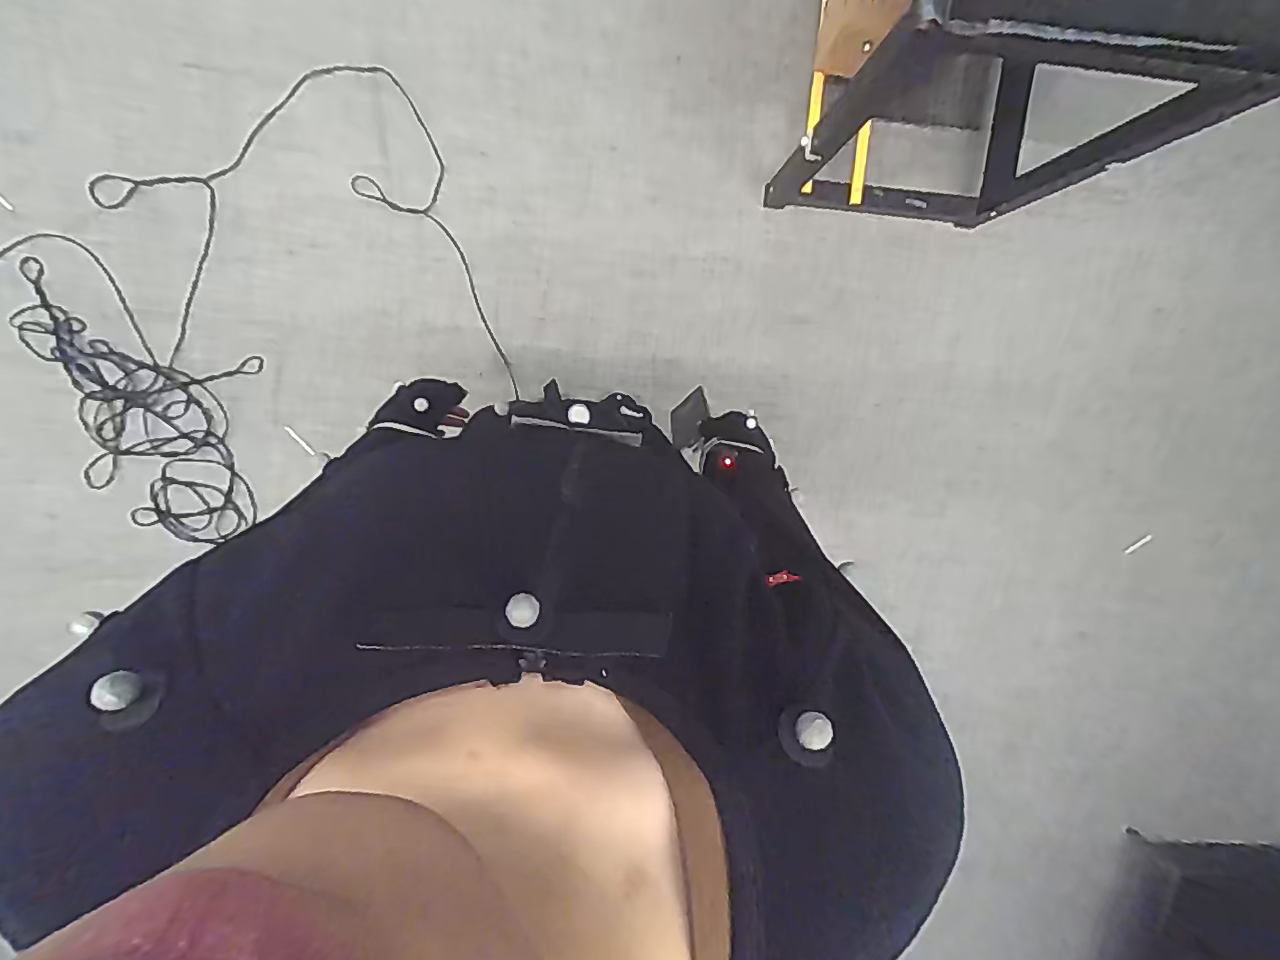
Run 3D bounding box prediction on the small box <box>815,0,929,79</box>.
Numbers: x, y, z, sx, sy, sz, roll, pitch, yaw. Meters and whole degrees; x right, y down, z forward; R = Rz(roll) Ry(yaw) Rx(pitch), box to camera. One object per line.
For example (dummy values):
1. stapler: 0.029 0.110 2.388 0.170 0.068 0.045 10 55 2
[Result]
1. small box: 0.497 -1.006 1.163 0.179 0.176 0.168 7 99 -5
